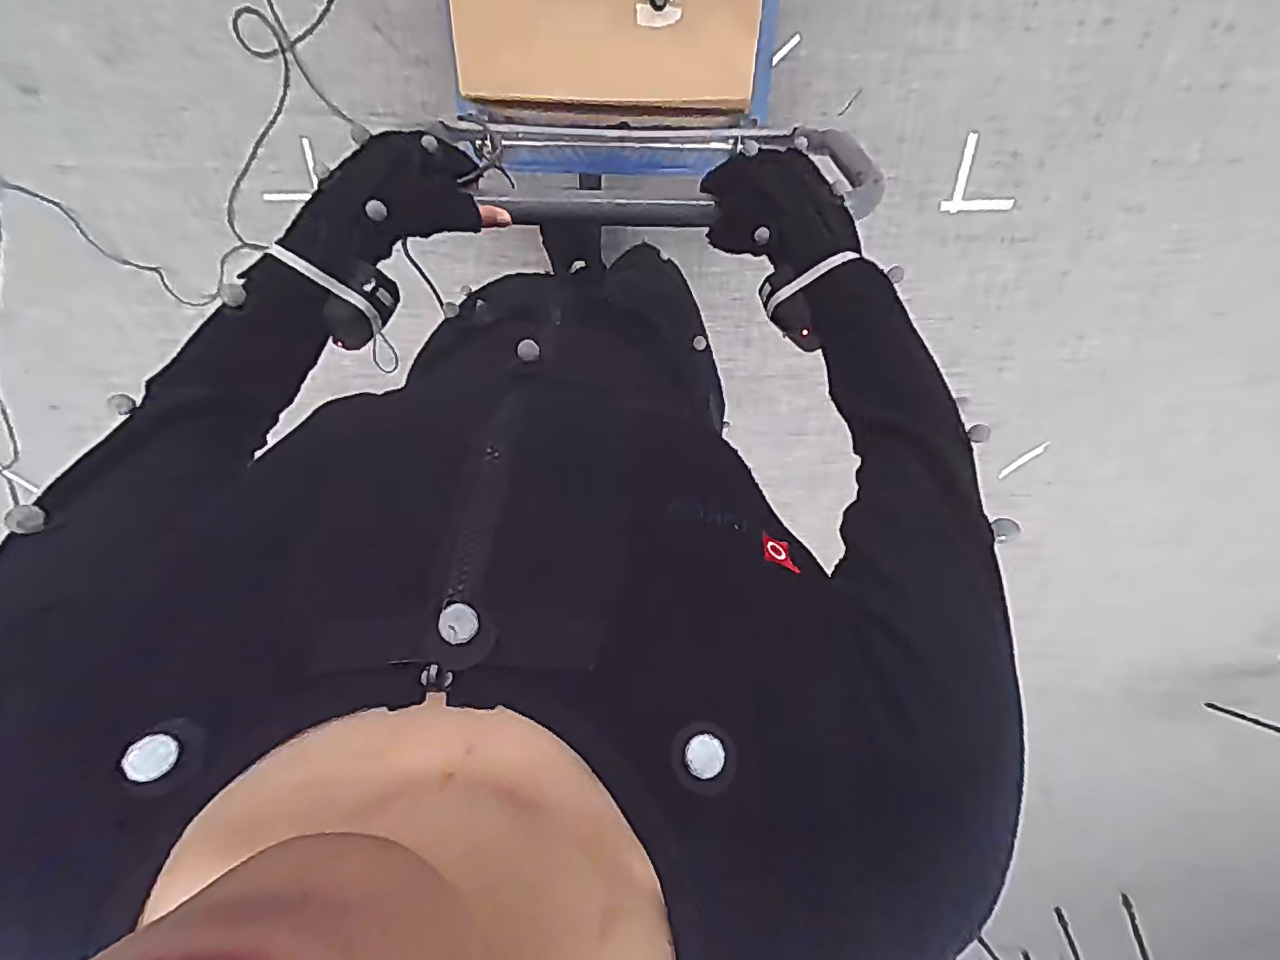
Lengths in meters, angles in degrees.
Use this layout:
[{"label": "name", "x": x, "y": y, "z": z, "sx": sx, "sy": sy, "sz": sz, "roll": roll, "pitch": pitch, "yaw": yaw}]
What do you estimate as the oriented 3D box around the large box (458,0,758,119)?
[{"label": "large box", "x": -0.051, "y": -0.746, "z": 0.820, "sx": 0.408, "sy": 0.320, "sz": 0.320, "roll": -1, "pitch": 121, "yaw": -5}]
